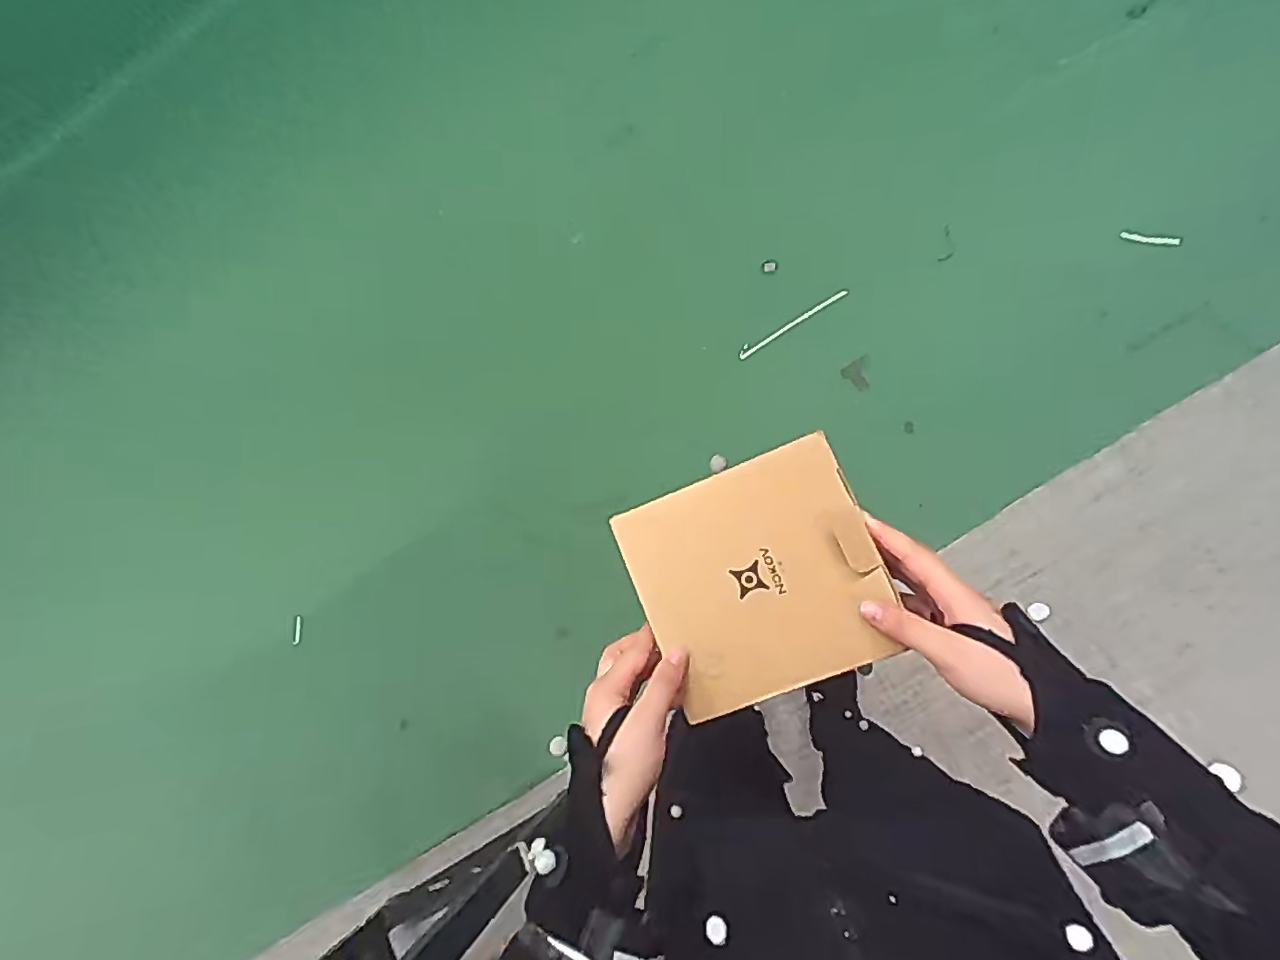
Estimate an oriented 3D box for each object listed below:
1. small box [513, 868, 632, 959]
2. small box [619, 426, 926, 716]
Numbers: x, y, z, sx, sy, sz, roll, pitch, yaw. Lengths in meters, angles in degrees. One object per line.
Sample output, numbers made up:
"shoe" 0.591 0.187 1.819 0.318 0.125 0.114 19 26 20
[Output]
"small box" -0.132 0.987 1.158 0.179 0.176 0.168 -38 73 3
"small box" 0.106 0.074 0.472 0.179 0.176 0.168 -24 81 8
